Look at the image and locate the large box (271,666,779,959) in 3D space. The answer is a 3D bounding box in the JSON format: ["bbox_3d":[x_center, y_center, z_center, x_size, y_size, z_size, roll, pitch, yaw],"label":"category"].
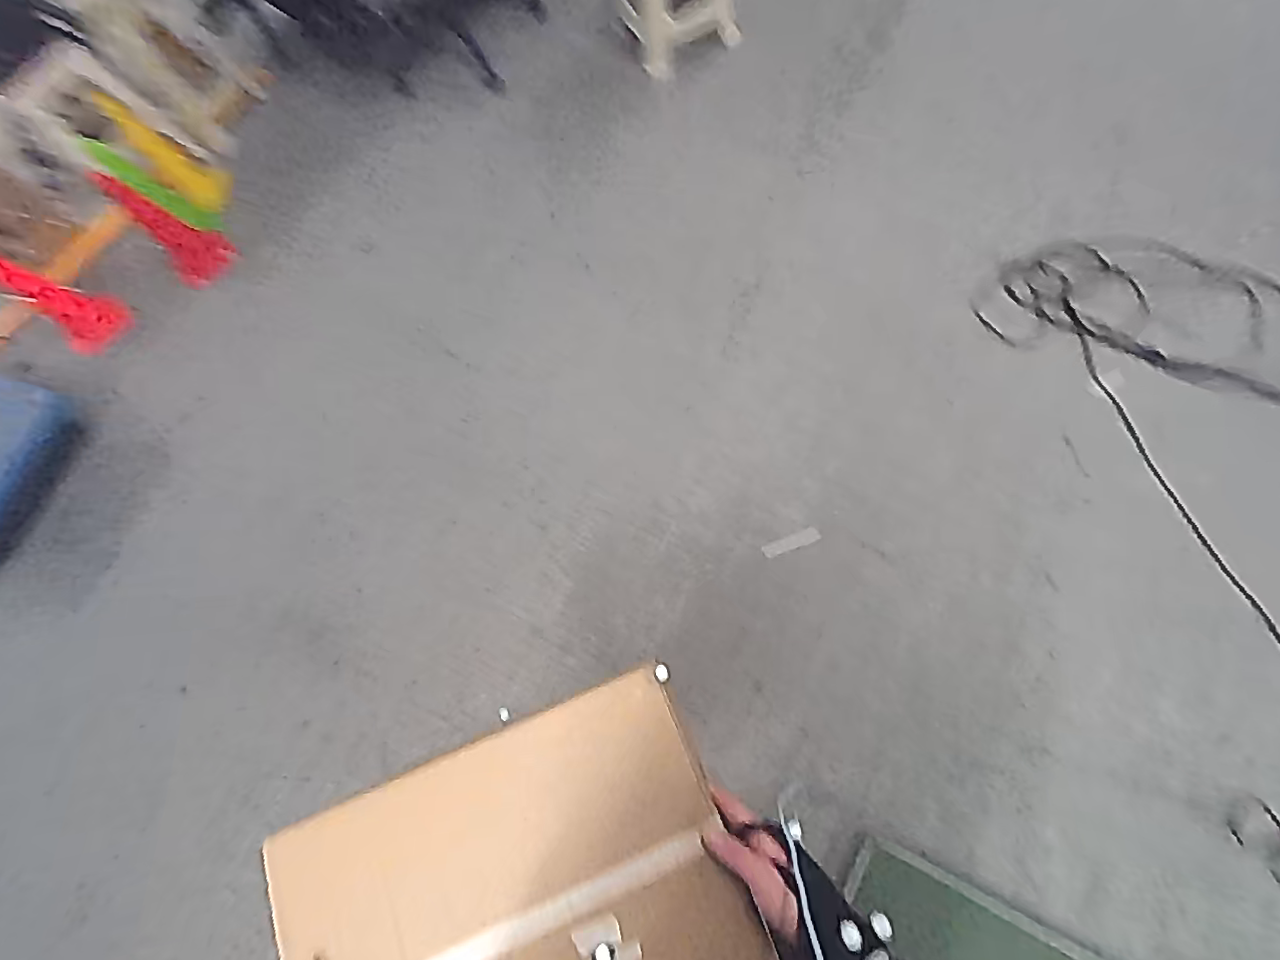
[{"bbox_3d":[-0.108,0.449,0.630,0.408,0.320,0.320,-24,74,-6],"label":"large box"}]
